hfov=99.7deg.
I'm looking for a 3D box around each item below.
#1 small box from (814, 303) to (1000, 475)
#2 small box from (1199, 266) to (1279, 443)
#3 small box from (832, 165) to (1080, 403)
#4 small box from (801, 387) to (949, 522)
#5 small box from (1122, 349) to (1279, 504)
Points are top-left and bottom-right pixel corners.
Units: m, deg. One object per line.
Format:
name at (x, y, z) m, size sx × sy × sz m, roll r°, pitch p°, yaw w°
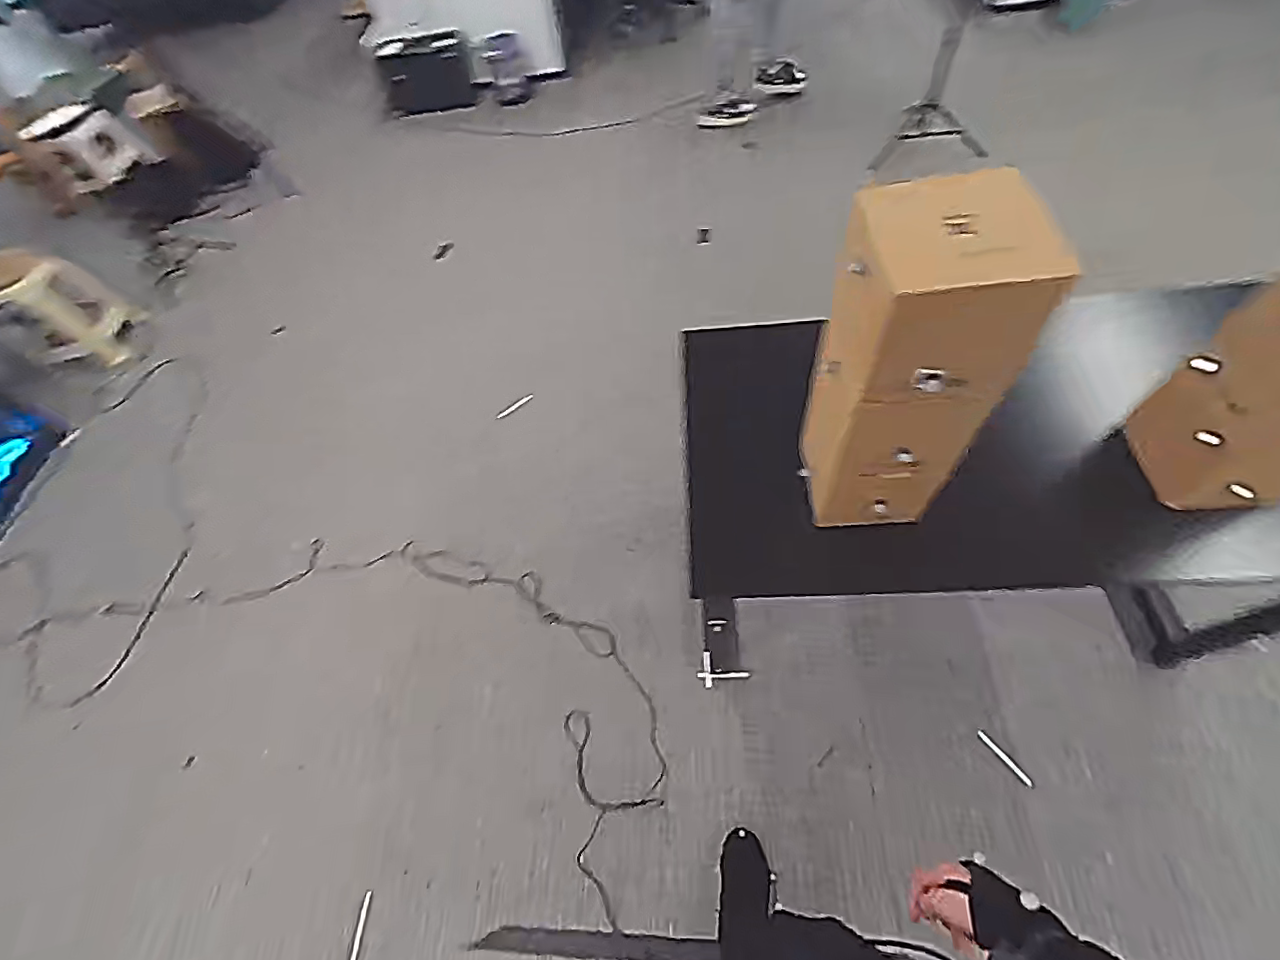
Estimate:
small box at (0.343, -0.127, 0.739) m, size 0.168 × 0.176 × 0.179 m, roll -5°, pitch 59°, yaw 7°
small box at (0.875, -0.161, 0.677) m, size 0.179 × 0.176 × 0.168 m, roll -7°, pitch 59°, yaw 4°
small box at (0.322, -0.210, 0.601) m, size 0.168 × 0.176 × 0.179 m, roll -6°, pitch 59°, yaw 7°
small box at (0.365, -0.041, 0.878) m, size 0.168 × 0.176 × 0.179 m, roll -5°, pitch 59°, yaw 6°
small box at (0.897, -0.082, 0.819) m, size 0.168 × 0.176 × 0.179 m, roll -4°, pitch 59°, yaw 7°
